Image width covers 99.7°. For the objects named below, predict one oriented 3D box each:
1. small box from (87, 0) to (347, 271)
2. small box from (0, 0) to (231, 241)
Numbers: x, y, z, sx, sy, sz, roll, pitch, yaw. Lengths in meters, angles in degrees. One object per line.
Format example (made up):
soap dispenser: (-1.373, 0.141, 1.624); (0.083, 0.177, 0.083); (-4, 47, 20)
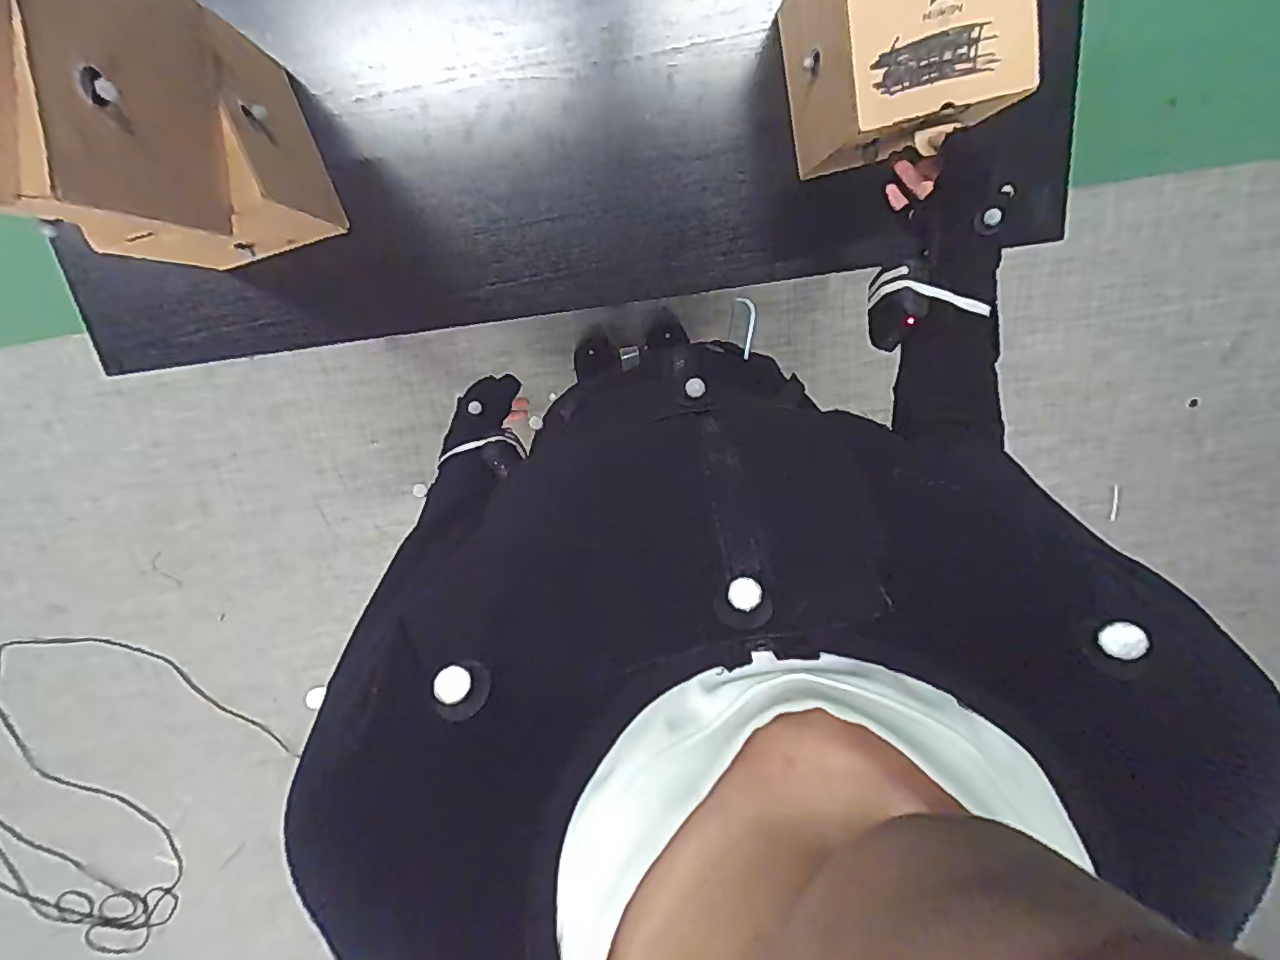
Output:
small box: (-0.438, -0.325, 0.542); (0.168, 0.176, 0.179); (-17, 108, 2)
small box: (-0.433, -0.278, 0.385); (0.168, 0.176, 0.179); (4, 106, -5)
